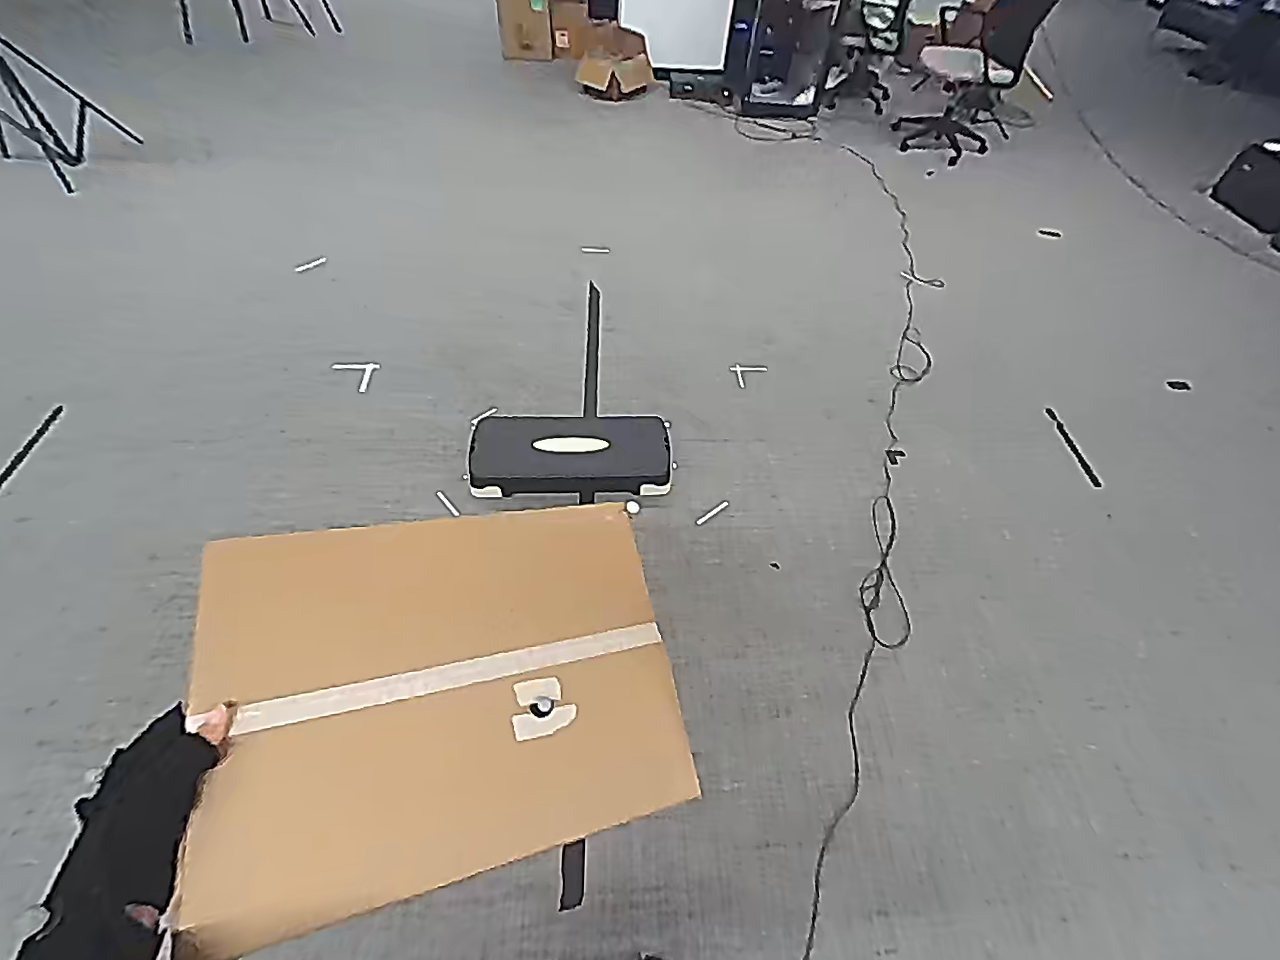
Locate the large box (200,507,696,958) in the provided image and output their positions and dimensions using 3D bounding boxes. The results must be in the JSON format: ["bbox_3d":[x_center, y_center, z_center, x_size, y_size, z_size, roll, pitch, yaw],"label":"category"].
[{"bbox_3d":[-0.209,0.251,0.629,0.408,0.320,0.320,-4,64,-24],"label":"large box"}]
